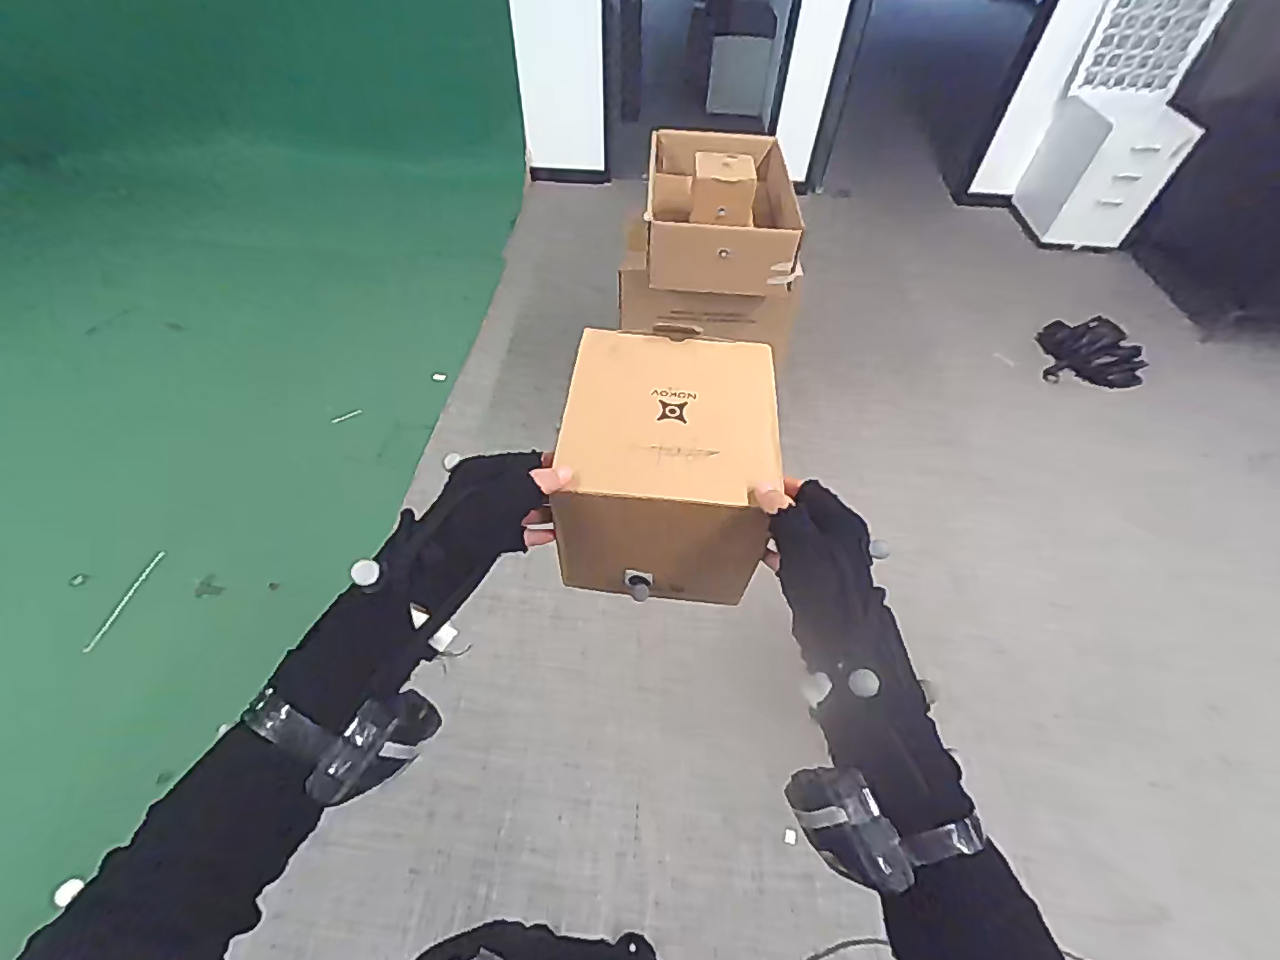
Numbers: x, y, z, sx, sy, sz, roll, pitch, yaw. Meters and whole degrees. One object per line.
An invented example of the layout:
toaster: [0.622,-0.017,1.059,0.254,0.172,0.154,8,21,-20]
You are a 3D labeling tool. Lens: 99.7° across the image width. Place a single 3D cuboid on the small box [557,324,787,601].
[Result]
small box: [0.024,-0.011,0.489,0.168,0.176,0.179,6,55,0]
